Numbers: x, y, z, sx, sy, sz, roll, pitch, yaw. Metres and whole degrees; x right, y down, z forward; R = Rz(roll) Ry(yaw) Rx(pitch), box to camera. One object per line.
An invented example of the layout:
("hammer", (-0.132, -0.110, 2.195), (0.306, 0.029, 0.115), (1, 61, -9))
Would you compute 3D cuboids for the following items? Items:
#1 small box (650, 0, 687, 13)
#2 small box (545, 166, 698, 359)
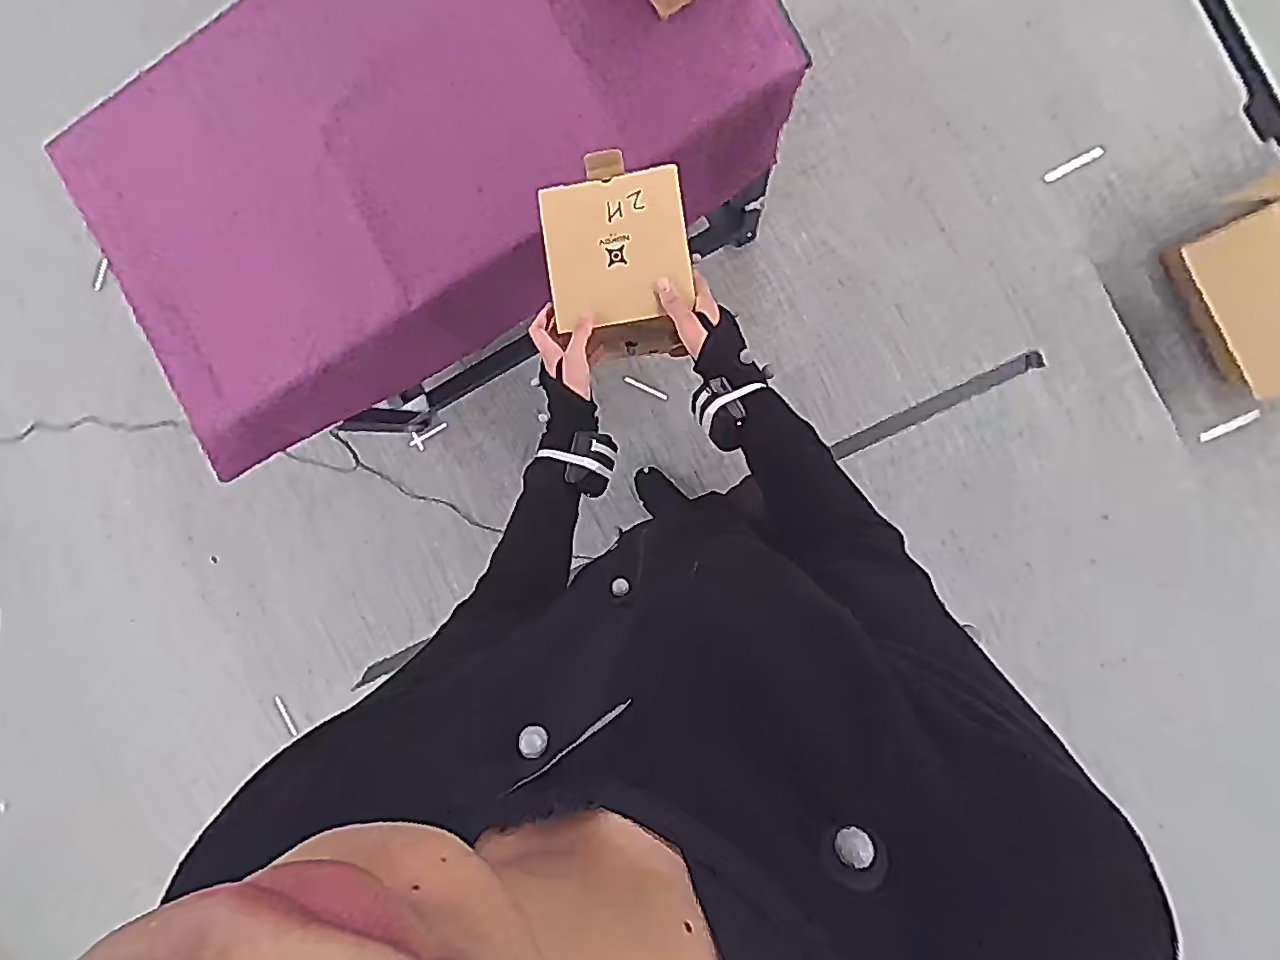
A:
("small box", (0.044, -0.814, 0.737), (0.168, 0.176, 0.179), (-32, 90, 10))
("small box", (-0.015, -0.263, 0.702), (0.168, 0.176, 0.179), (-7, 88, 4))
